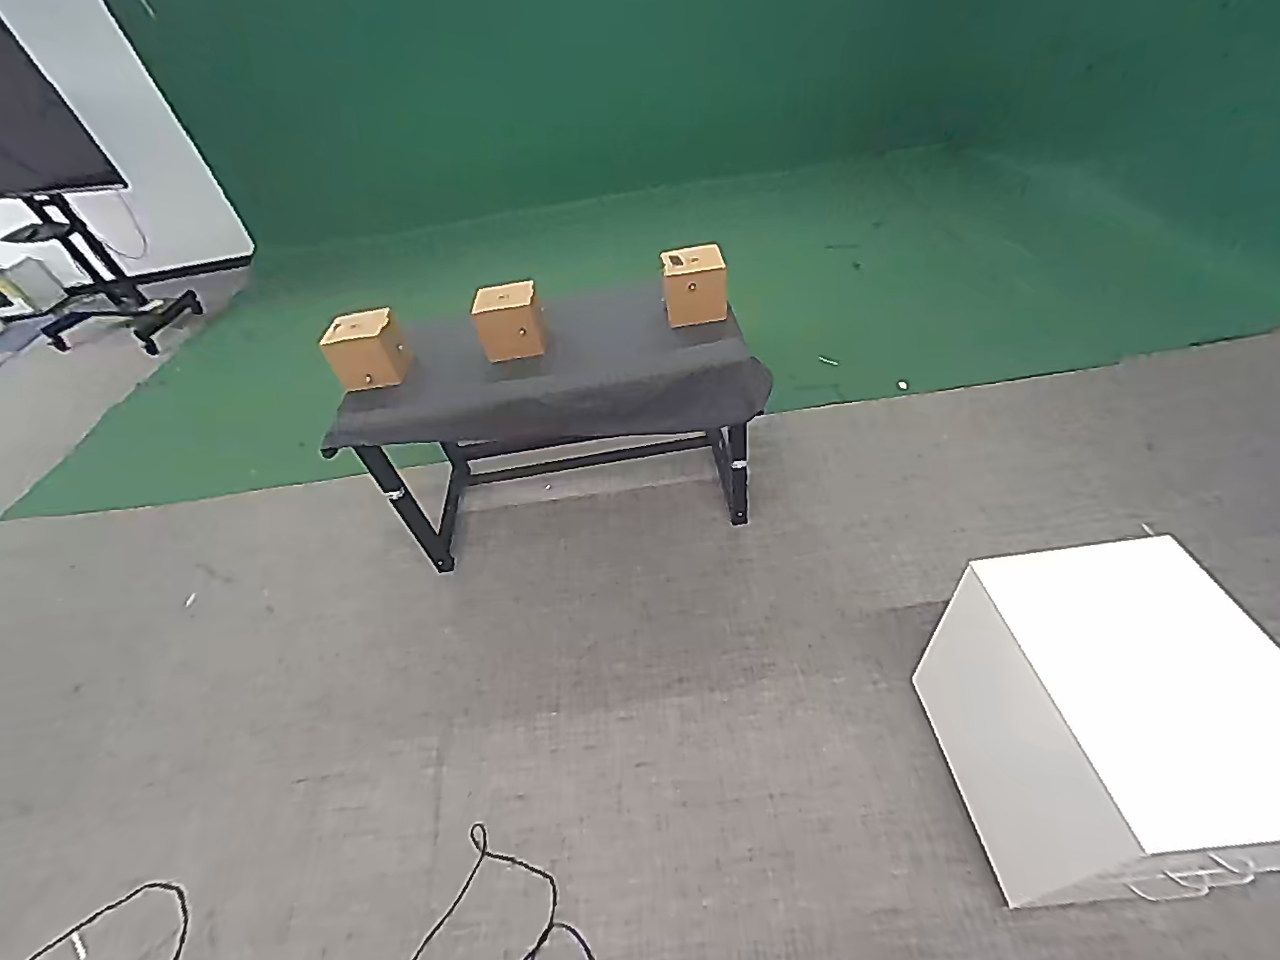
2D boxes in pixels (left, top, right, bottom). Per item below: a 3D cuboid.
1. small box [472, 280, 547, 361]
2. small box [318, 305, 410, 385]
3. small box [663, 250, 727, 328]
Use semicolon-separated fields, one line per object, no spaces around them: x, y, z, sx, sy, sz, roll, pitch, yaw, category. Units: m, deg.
-0.390;-0.485;1.650;0.179;0.176;0.168;-8;43;2;small box
-0.822;-0.405;1.632;0.179;0.176;0.168;-7;43;0;small box
0.168;-0.579;1.653;0.179;0.176;0.168;-6;44;2;small box
